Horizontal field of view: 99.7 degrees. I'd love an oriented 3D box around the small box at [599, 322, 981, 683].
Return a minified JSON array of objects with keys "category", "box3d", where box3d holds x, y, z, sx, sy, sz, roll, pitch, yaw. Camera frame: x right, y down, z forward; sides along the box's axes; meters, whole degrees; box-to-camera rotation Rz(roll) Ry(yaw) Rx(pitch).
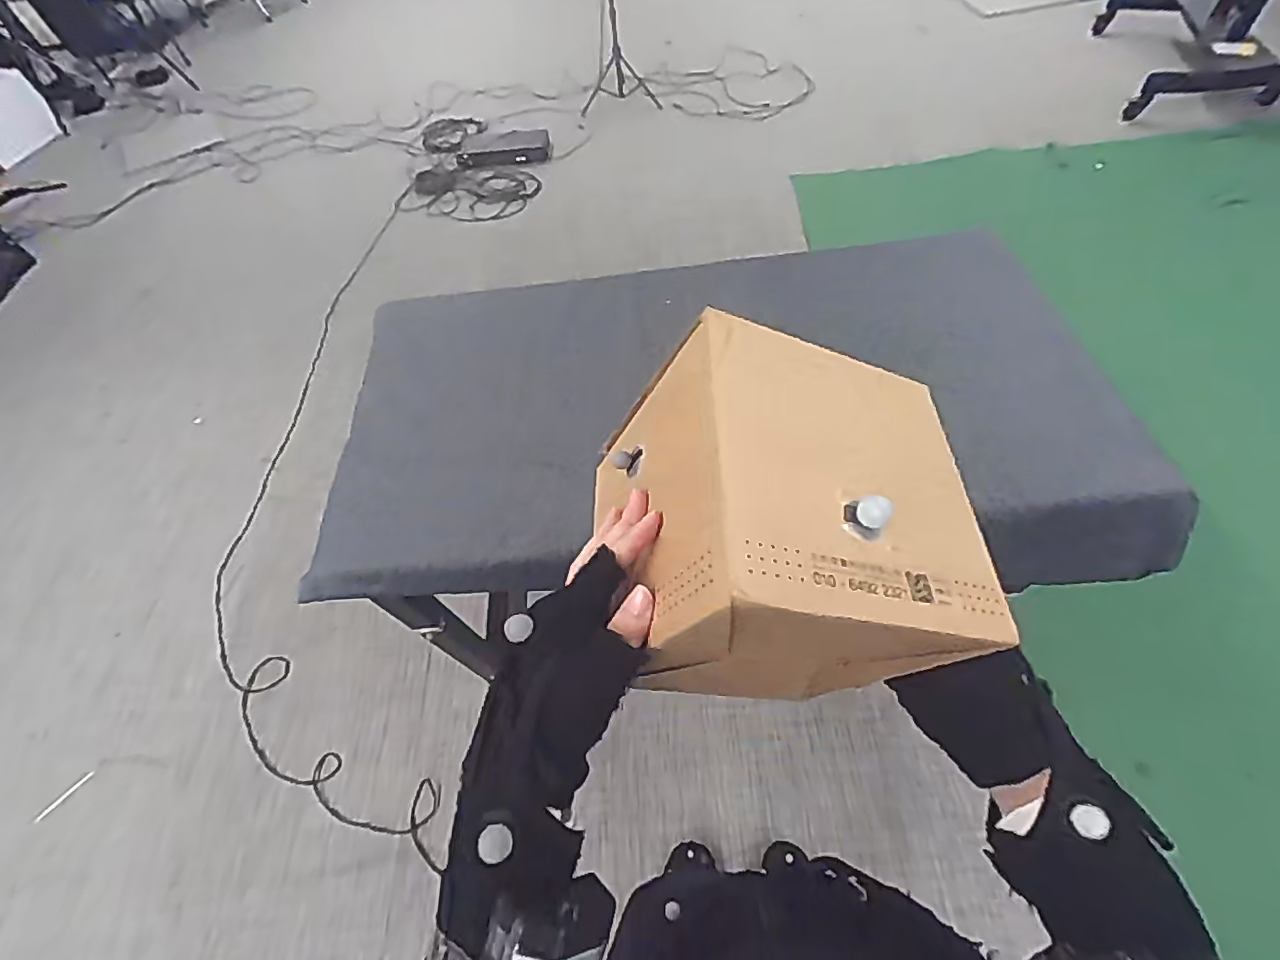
[{"category":"small box","box3d":[0.076,0.035,0.361,0.168,0.179,0.176,13,57,-21]}]
